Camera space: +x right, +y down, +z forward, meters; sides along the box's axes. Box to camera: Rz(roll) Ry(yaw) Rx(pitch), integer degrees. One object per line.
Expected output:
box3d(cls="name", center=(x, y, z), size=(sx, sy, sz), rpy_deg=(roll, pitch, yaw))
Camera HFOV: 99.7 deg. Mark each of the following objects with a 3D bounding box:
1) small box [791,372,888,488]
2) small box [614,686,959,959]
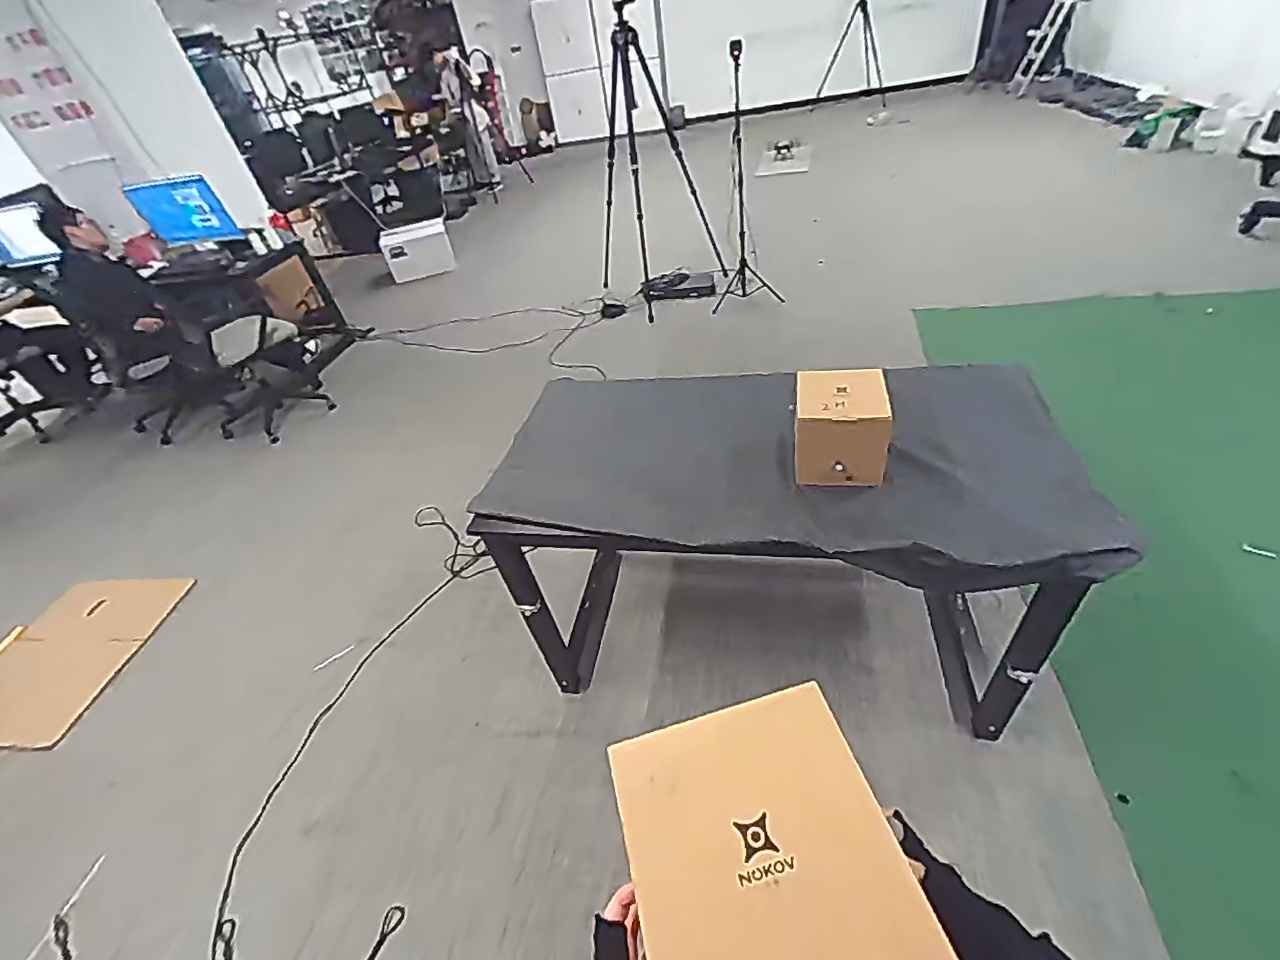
box3d(cls="small box", center=(0.398, -0.105, 1.106), size=(0.168, 0.176, 0.179), rpy_deg=(1, 42, 14))
box3d(cls="small box", center=(0.086, 0.287, 0.395), size=(0.168, 0.176, 0.179), rpy_deg=(-15, 44, -5))
